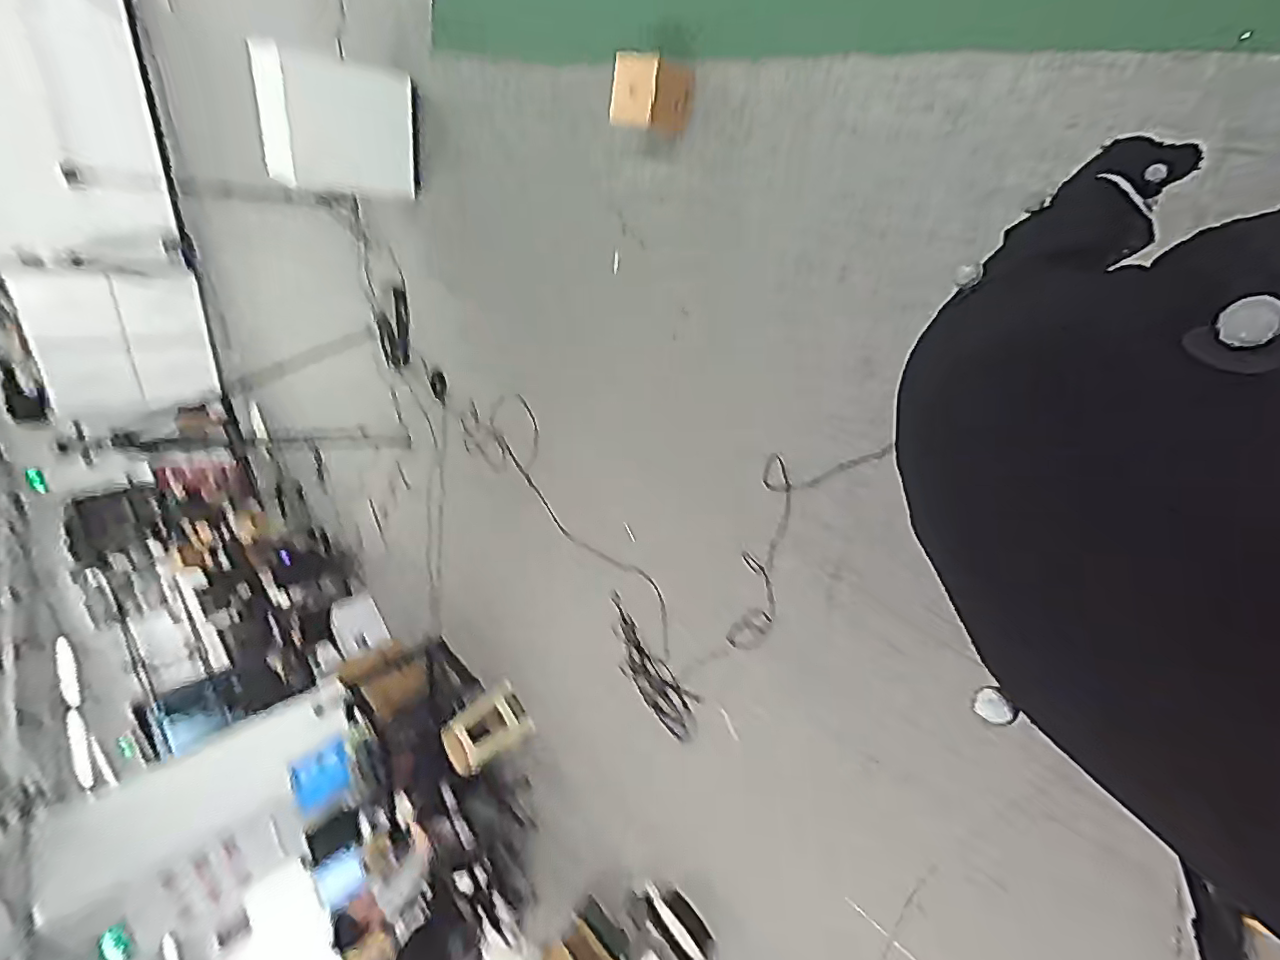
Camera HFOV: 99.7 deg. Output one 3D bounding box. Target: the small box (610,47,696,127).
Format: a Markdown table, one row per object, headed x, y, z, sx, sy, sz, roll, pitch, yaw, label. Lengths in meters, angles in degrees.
| x | y | z | sx | sy | sz | roll | pitch | yaw | label |
| --- | --- | --- | --- | --- | --- | --- | --- | --- | --- |
| 0.038 | -1.182 | 1.630 | 0.179 | 0.176 | 0.168 | 32 | 126 | 33 | small box |
